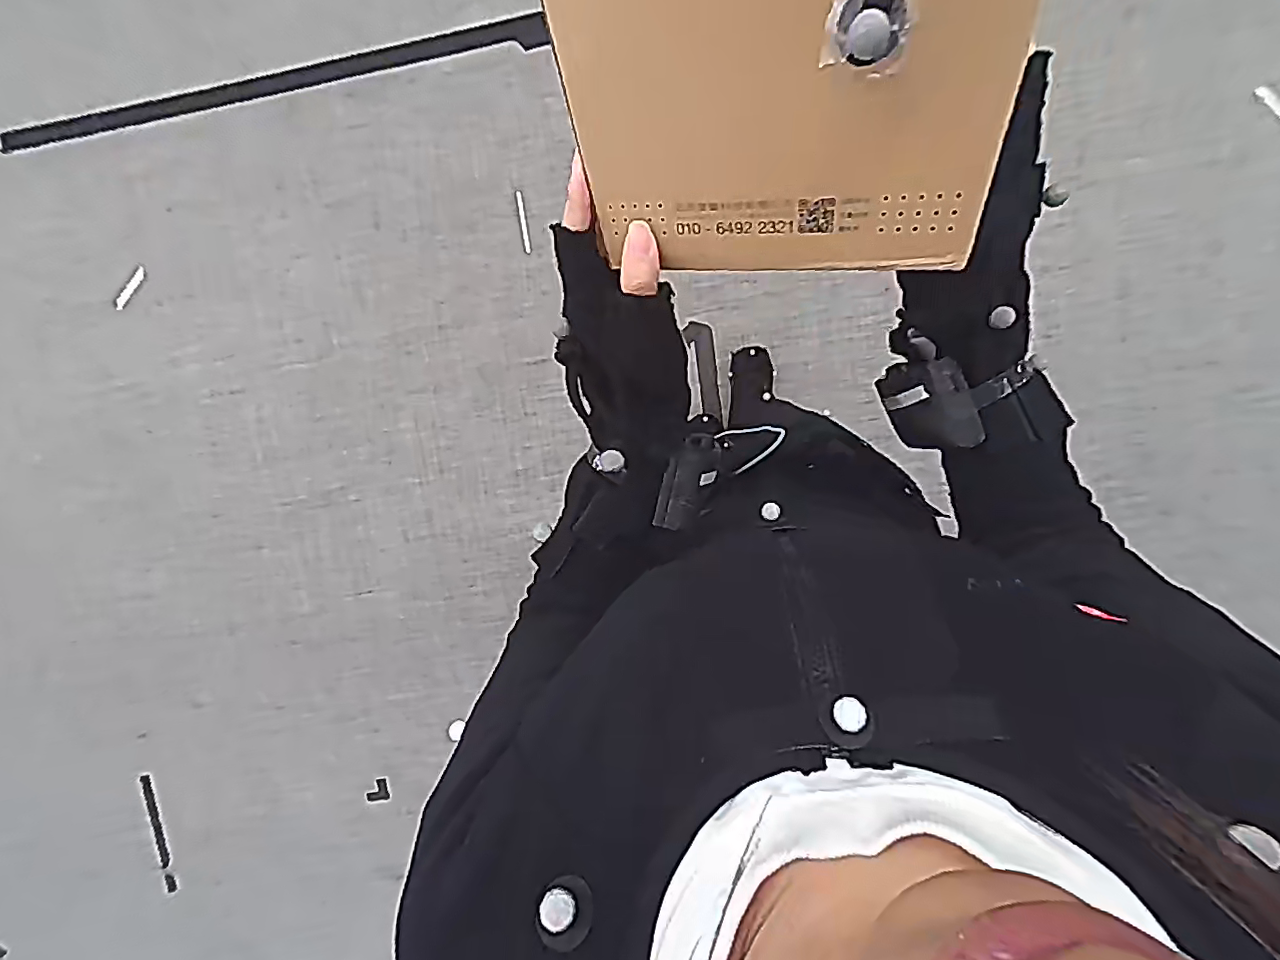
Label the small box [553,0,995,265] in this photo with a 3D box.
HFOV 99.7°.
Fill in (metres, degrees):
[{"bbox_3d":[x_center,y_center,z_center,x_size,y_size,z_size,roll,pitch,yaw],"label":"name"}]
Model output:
[{"bbox_3d":[0.073,-0.222,0.259,0.168,0.176,0.179,10,54,21],"label":"small box"}]
